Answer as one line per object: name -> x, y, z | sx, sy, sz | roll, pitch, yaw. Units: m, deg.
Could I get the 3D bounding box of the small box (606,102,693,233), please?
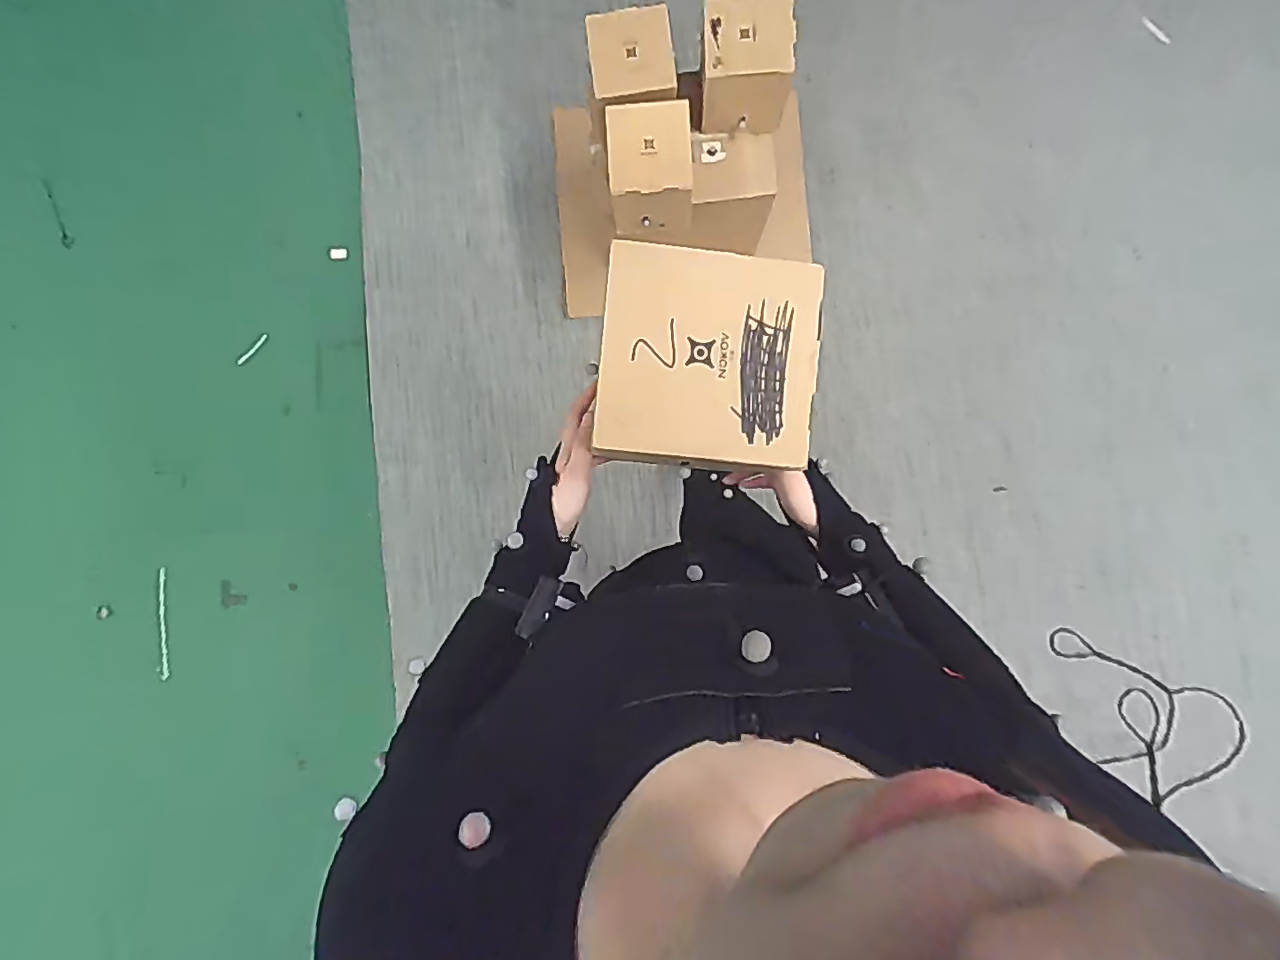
small box -> 0.018, -0.644, 1.129 | 0.168, 0.176, 0.179 | -4, 89, 1

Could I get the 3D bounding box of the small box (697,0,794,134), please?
small box -> 0.214, -0.856, 1.128 | 0.179, 0.176, 0.168 | 0, 88, 3
